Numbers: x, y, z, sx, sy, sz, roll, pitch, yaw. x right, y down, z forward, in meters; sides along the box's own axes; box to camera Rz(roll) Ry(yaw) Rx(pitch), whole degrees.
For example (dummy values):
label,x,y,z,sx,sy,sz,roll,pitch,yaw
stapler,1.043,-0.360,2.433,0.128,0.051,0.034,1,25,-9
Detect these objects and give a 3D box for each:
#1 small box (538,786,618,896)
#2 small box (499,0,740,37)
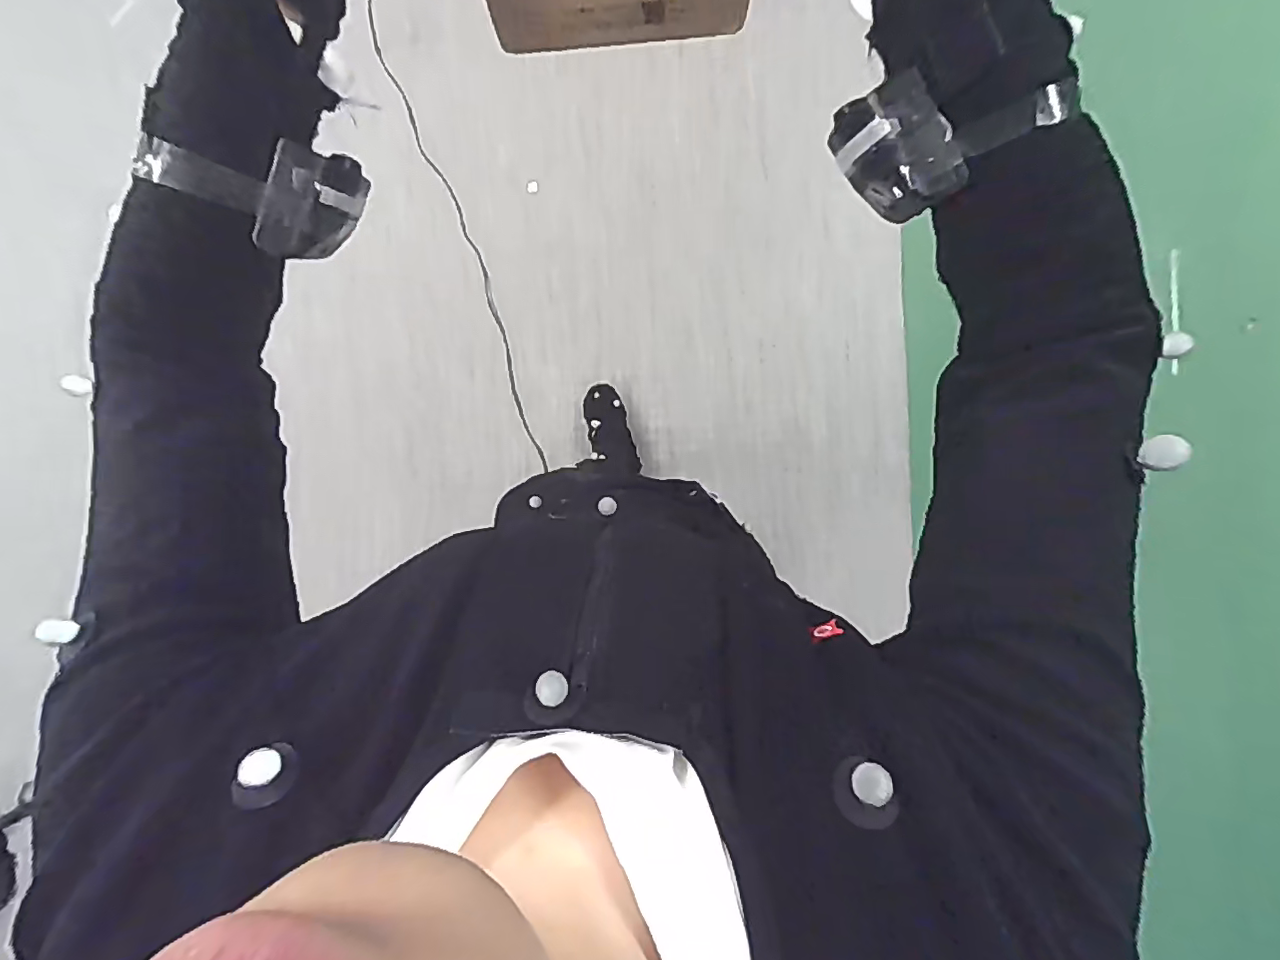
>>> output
label,x,y,z,sx,sy,sz,roll,pitch,yaw
small box,-0.154,0.894,1.355,0.179,0.176,0.168,1,88,3
small box,-0.021,-0.401,0.299,0.168,0.176,0.179,-3,80,3
